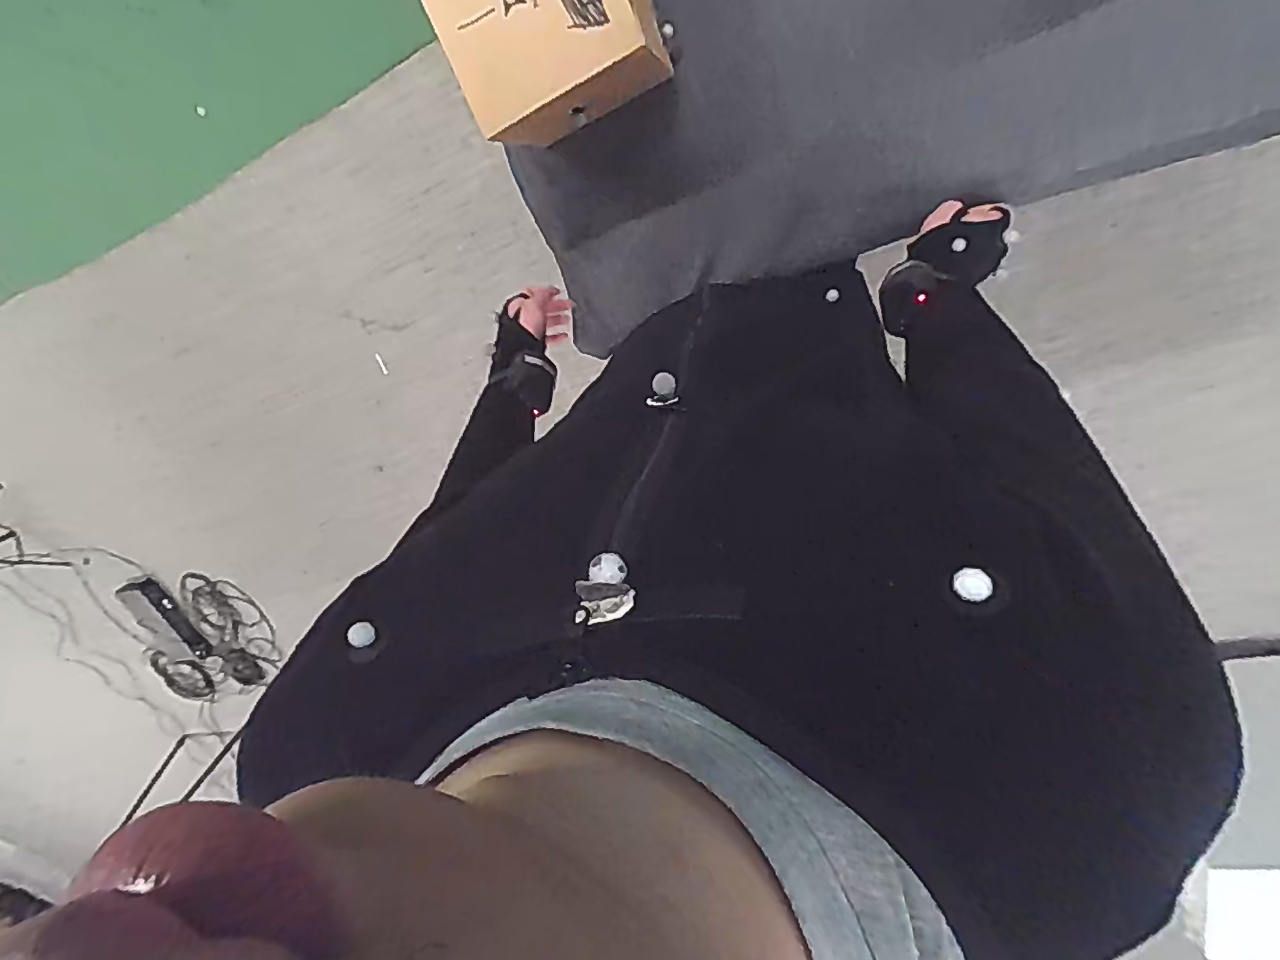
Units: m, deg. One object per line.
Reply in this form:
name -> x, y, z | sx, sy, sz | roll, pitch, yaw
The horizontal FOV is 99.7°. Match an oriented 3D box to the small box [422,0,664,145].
small box -> -0.086, -0.457, 0.532 | 0.179, 0.176, 0.168 | -15, 114, 22
